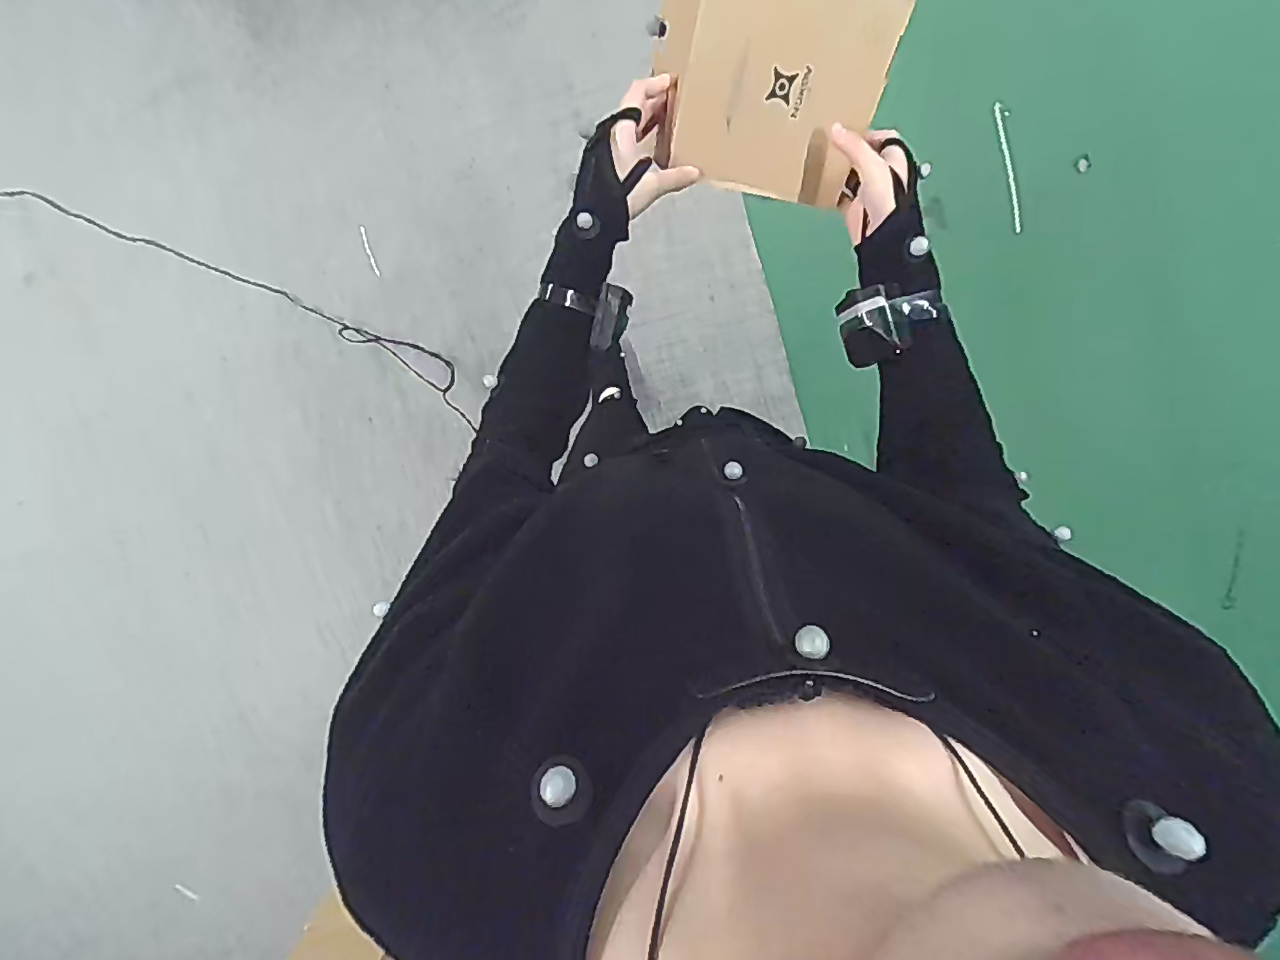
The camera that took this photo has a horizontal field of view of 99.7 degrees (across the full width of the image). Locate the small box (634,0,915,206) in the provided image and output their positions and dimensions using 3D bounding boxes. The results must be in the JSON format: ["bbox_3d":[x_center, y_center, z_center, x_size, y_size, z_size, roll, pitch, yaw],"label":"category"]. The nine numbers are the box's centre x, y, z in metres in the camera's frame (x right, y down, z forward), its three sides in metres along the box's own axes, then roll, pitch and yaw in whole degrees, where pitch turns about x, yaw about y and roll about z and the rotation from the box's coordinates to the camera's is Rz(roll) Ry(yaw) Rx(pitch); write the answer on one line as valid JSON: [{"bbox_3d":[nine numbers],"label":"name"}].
[{"bbox_3d":[0.104,-0.380,0.506,0.179,0.176,0.168,3,129,-15],"label":"small box"}]
